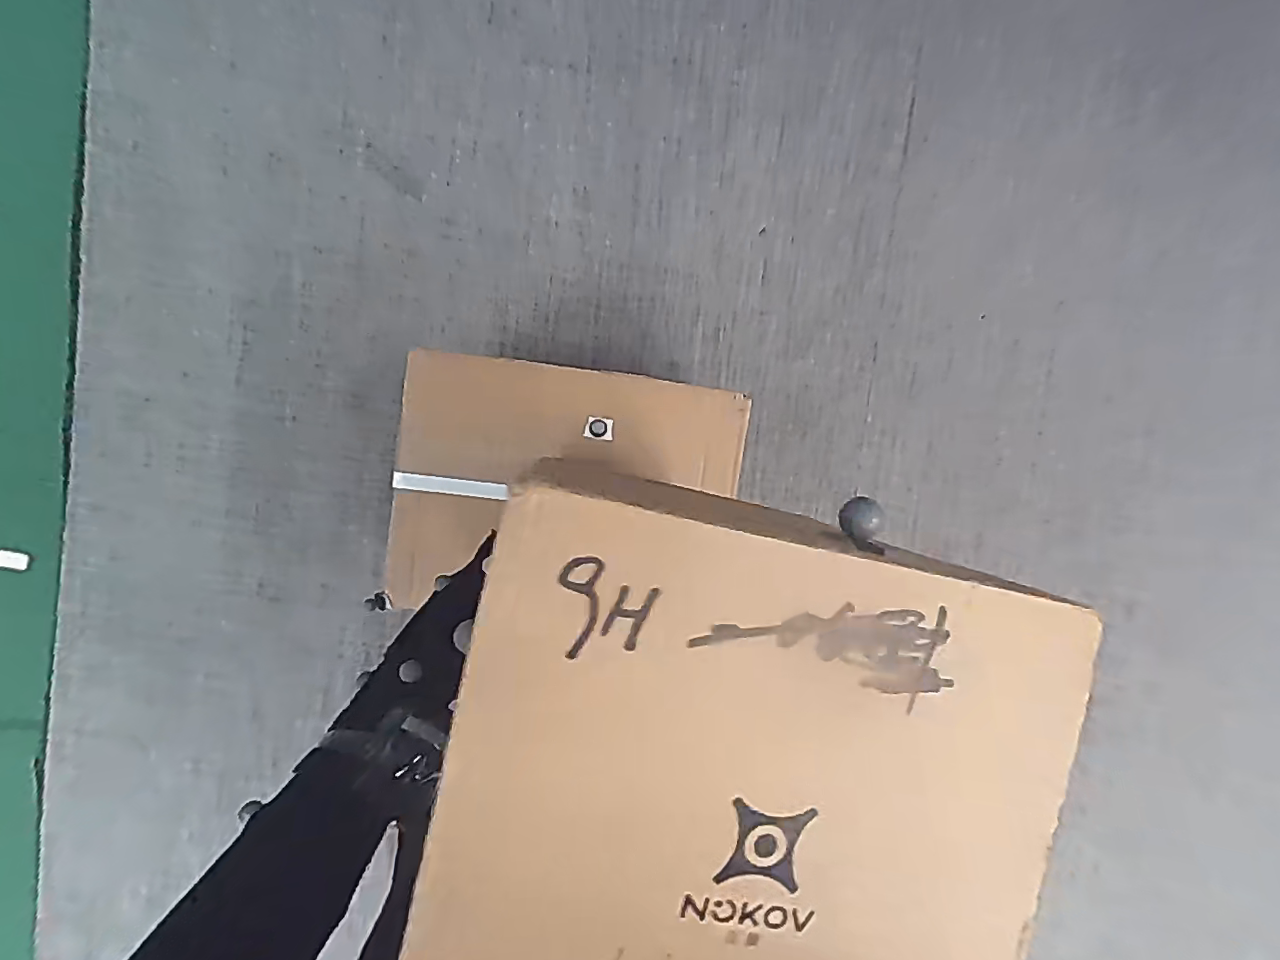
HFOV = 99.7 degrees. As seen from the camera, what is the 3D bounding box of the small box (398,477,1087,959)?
[{"bbox_3d":[0.017,0.105,0.224,0.168,0.176,0.179,13,93,-8],"label":"small box"}]
